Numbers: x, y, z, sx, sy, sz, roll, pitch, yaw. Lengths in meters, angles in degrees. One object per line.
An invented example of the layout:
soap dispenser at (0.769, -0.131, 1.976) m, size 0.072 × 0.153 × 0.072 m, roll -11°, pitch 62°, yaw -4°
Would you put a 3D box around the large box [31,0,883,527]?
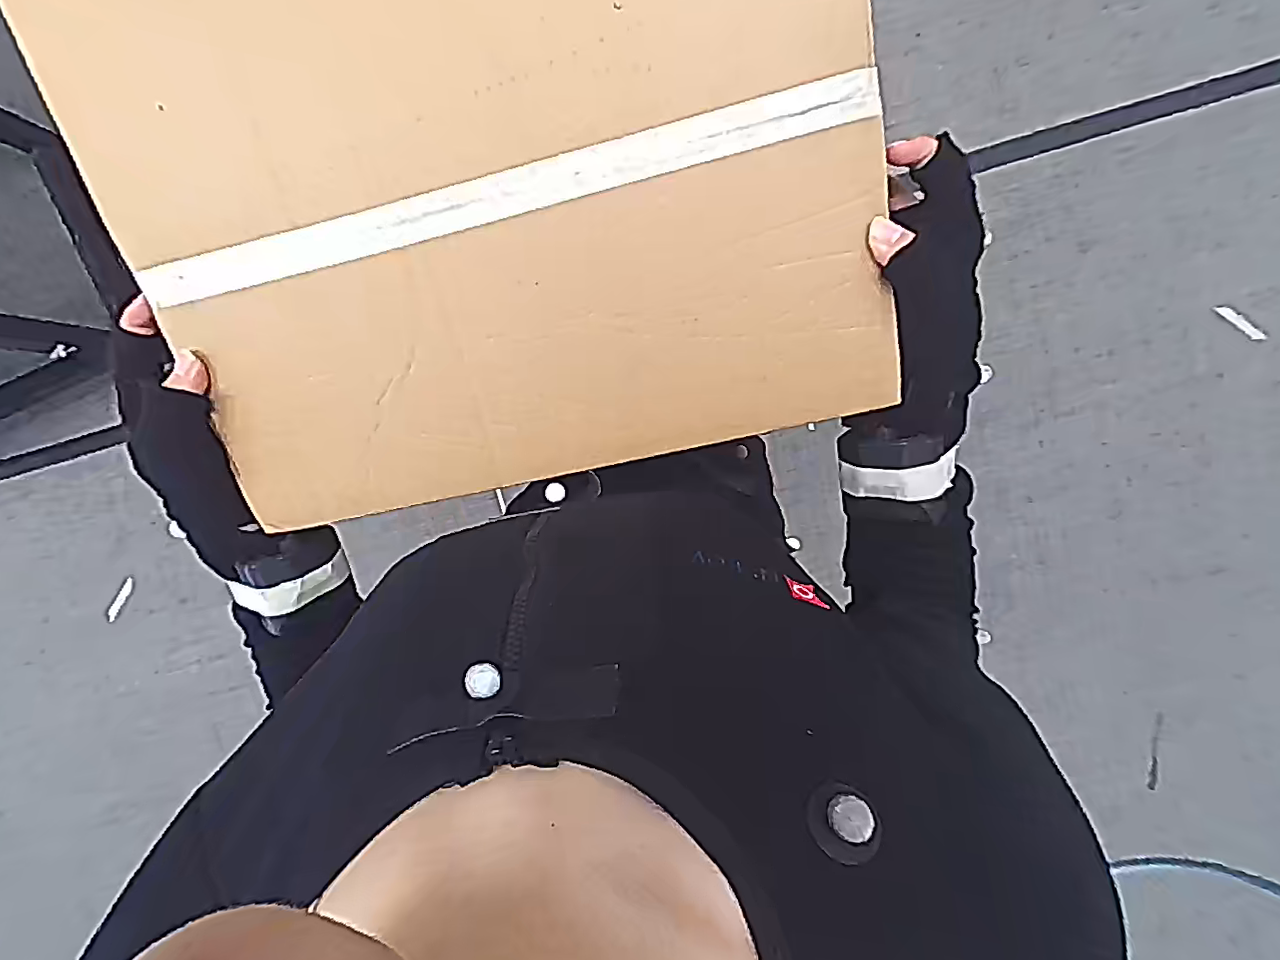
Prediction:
large box at (-0.074, -0.199, 0.436) m, size 0.408 × 0.320 × 0.320 m, roll -11°, pitch 108°, yaw 6°
